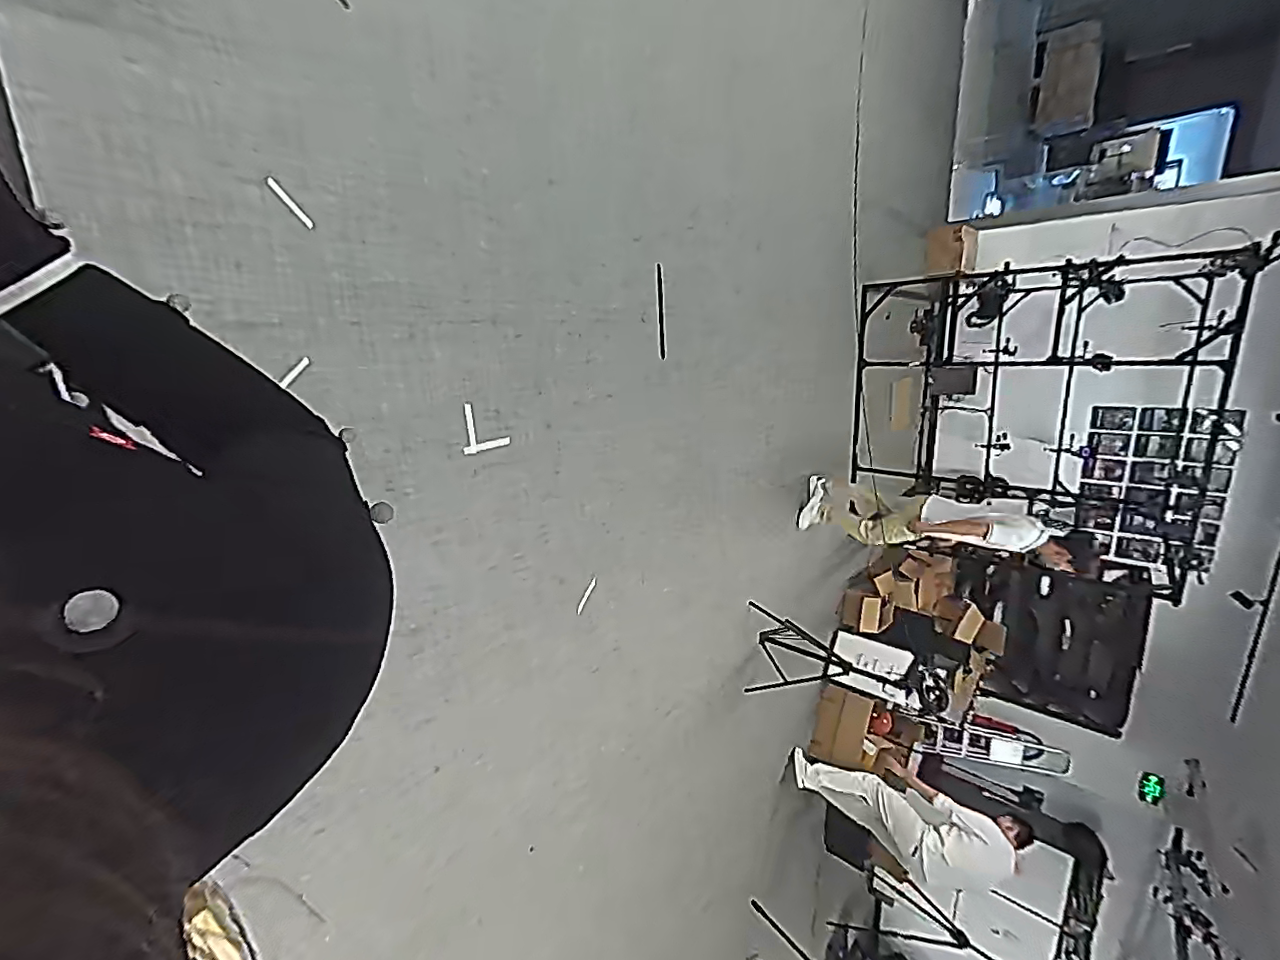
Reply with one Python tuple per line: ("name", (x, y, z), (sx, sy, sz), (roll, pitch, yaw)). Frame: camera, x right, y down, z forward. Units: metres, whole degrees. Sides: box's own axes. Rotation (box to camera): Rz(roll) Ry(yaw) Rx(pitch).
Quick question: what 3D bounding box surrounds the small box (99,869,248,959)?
("small box", (-0.926, 0.924, 1.073), (0.168, 0.176, 0.179), (-29, 118, -42))
